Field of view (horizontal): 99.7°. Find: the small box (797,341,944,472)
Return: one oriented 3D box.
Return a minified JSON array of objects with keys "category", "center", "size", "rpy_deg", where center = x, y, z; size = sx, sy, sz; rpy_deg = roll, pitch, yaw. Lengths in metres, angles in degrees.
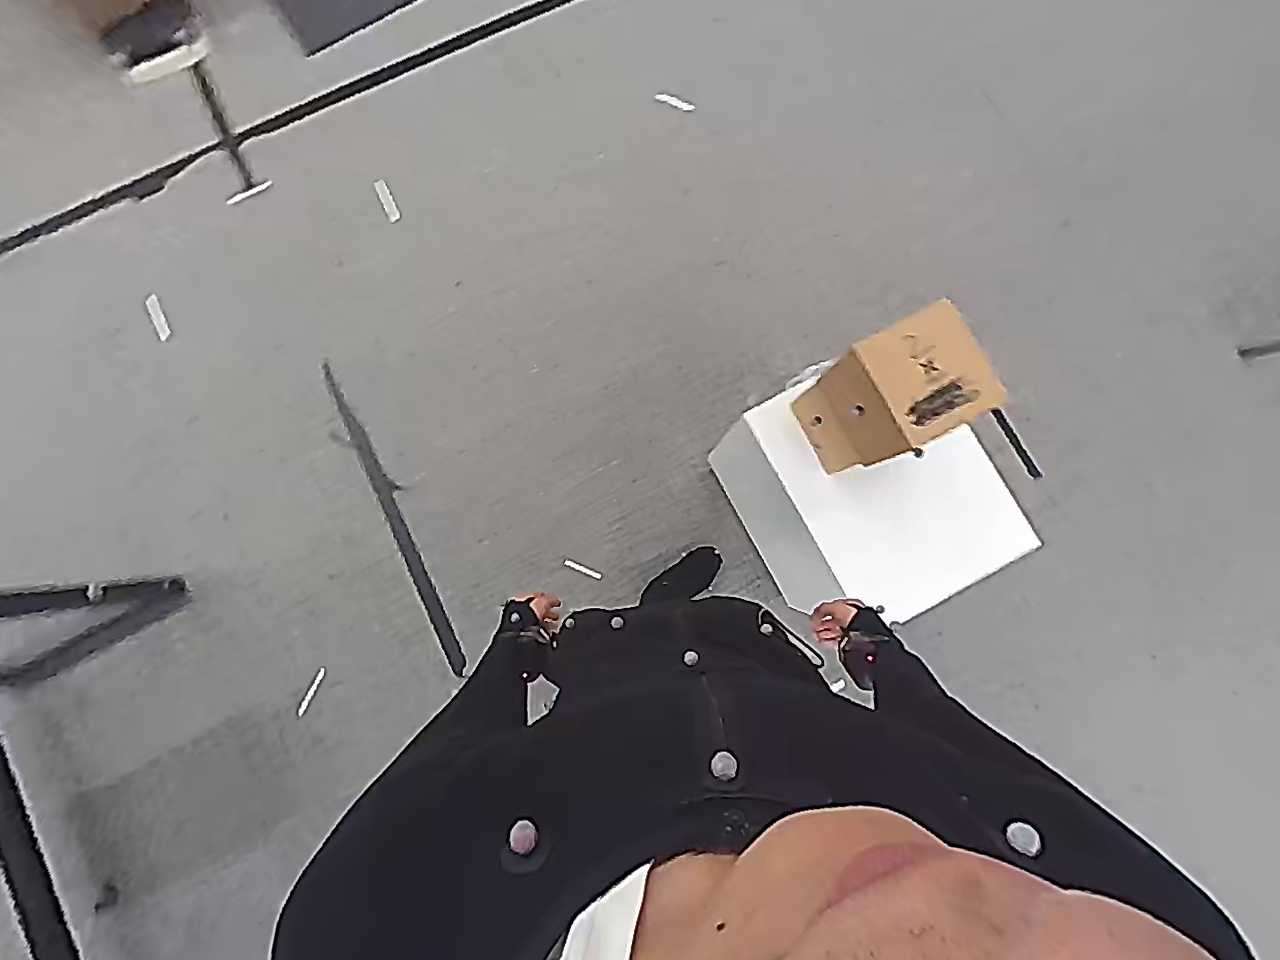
[{"category":"small box","center":[0.416,-0.127,1.018],"size":[0.179,0.176,0.168],"rpy_deg":[-27,85,-5]}]
